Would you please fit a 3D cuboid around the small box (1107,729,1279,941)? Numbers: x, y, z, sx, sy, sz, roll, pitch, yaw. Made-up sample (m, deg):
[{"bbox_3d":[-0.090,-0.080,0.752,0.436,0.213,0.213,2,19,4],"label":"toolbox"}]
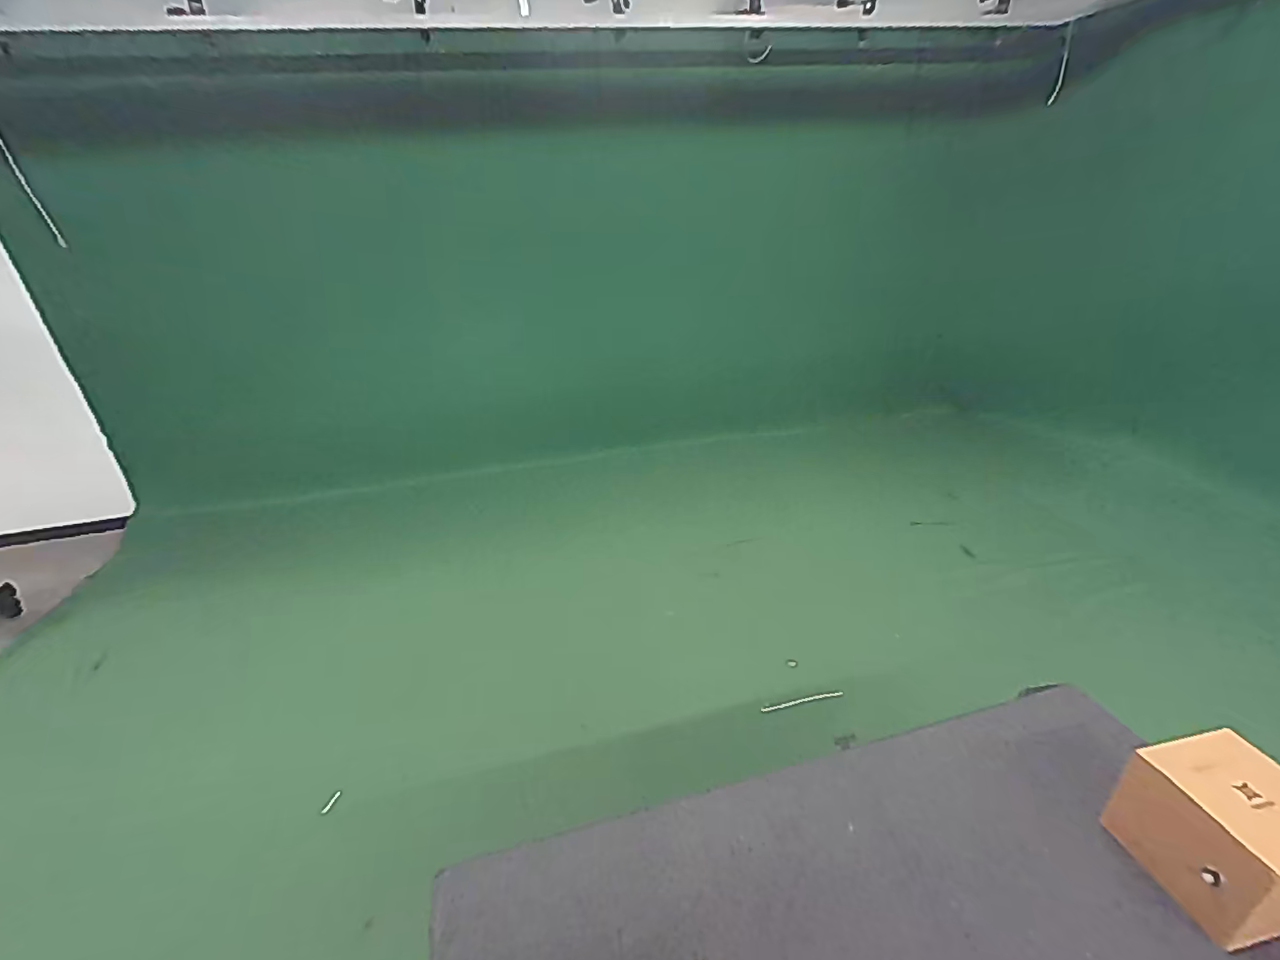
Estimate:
[{"bbox_3d":[0.807,0.484,0.740,0.168,0.176,0.179,-7,24,-9],"label":"small box"}]
